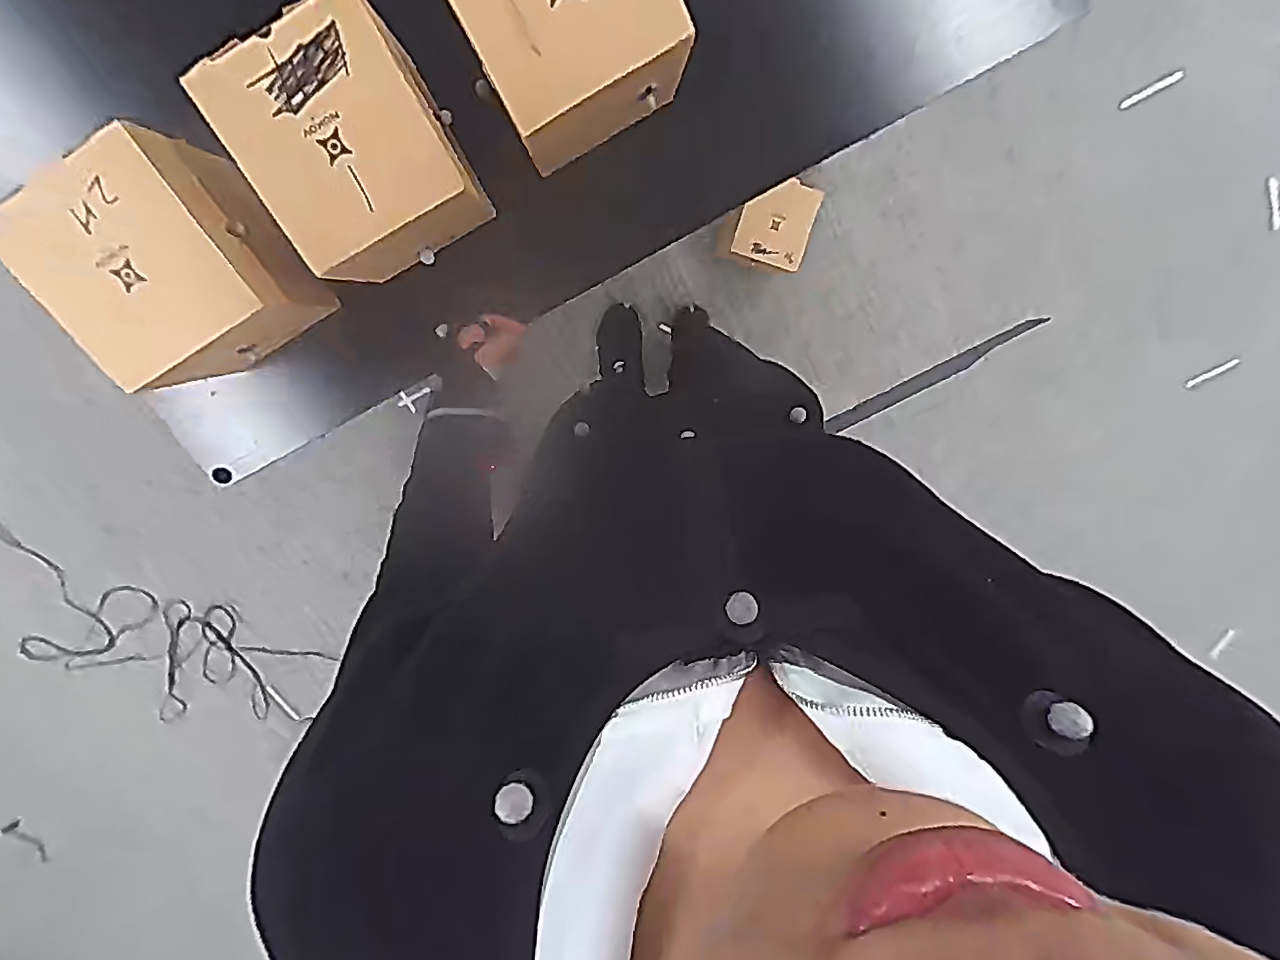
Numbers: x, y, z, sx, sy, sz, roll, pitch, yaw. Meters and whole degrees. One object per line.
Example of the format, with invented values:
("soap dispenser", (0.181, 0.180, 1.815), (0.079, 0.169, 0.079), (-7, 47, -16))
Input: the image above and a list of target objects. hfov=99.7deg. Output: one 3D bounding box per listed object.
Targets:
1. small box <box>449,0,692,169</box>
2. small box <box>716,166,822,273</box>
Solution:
("small box", (-0.073, -0.438, 0.522), (0.179, 0.176, 0.168), (-27, 108, 6))
("small box", (0.291, -0.600, 1.266), (0.168, 0.176, 0.179), (14, 107, -9))
